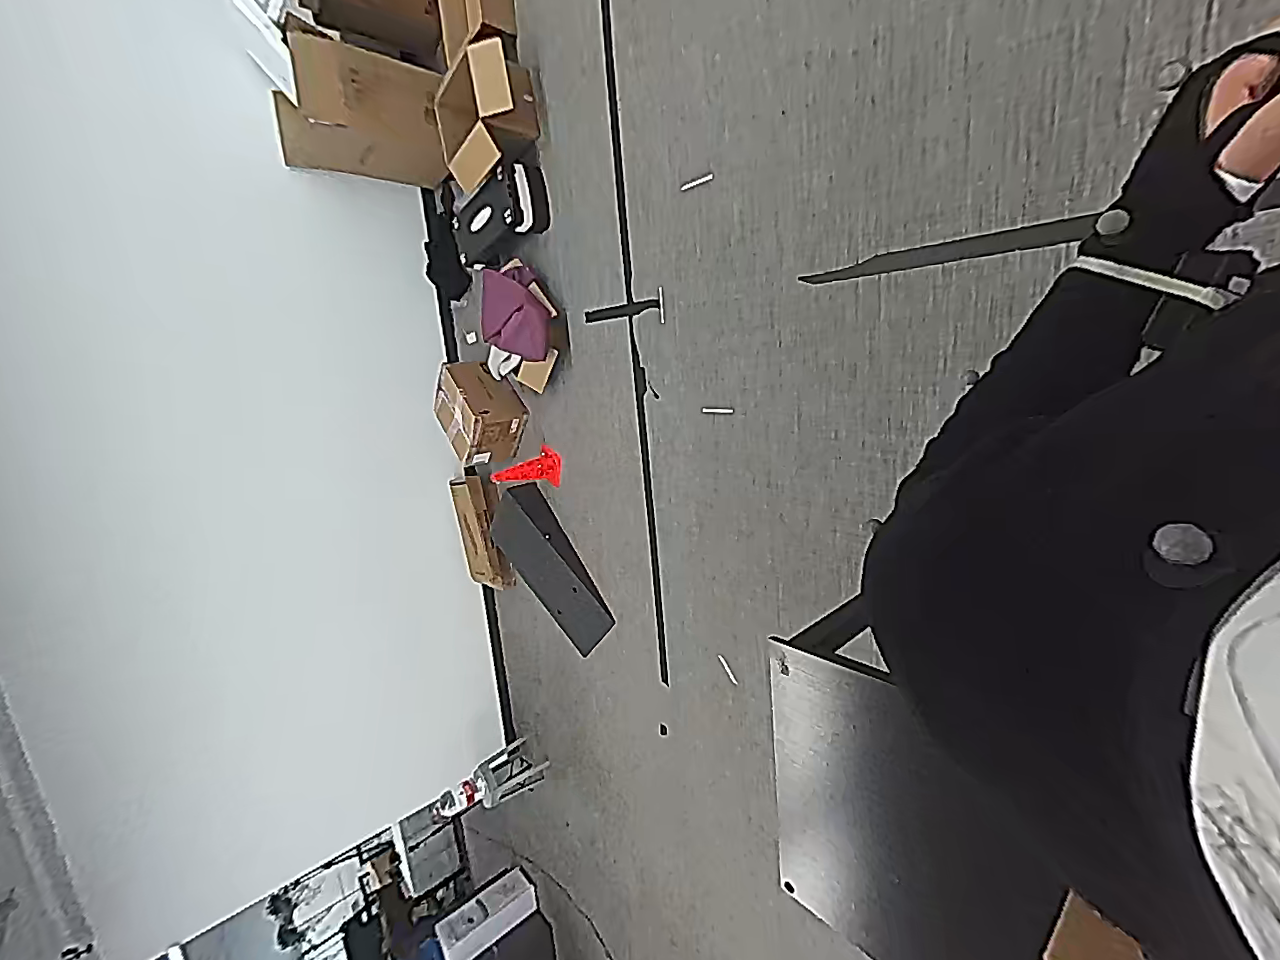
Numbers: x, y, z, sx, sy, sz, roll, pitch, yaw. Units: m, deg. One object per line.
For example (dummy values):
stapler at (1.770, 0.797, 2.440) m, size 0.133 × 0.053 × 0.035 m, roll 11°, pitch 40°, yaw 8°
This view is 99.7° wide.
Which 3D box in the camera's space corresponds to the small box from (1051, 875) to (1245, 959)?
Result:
small box at (0.590, 0.620, 0.626) m, size 0.168 × 0.176 × 0.179 m, roll 7°, pitch 106°, yaw 50°
